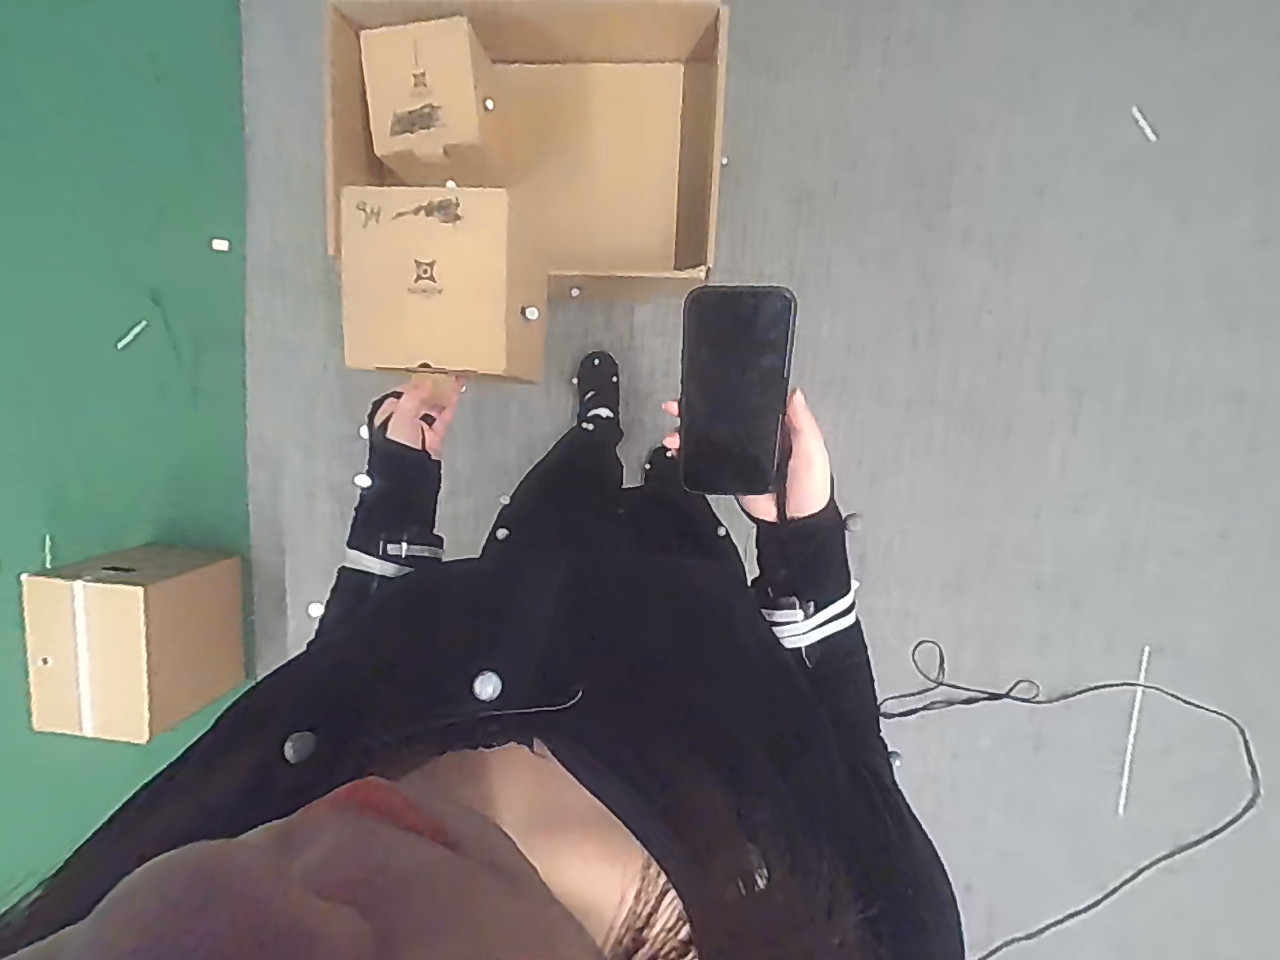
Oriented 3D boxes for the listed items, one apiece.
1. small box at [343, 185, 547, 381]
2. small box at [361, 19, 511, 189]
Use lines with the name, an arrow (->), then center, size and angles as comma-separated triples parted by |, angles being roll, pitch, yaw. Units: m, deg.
small box -> -0.205, -0.205, 0.607 | 0.168, 0.176, 0.179 | 3, 97, 3
small box -> -0.318, -0.586, 0.877 | 0.168, 0.176, 0.179 | -4, 95, 4
